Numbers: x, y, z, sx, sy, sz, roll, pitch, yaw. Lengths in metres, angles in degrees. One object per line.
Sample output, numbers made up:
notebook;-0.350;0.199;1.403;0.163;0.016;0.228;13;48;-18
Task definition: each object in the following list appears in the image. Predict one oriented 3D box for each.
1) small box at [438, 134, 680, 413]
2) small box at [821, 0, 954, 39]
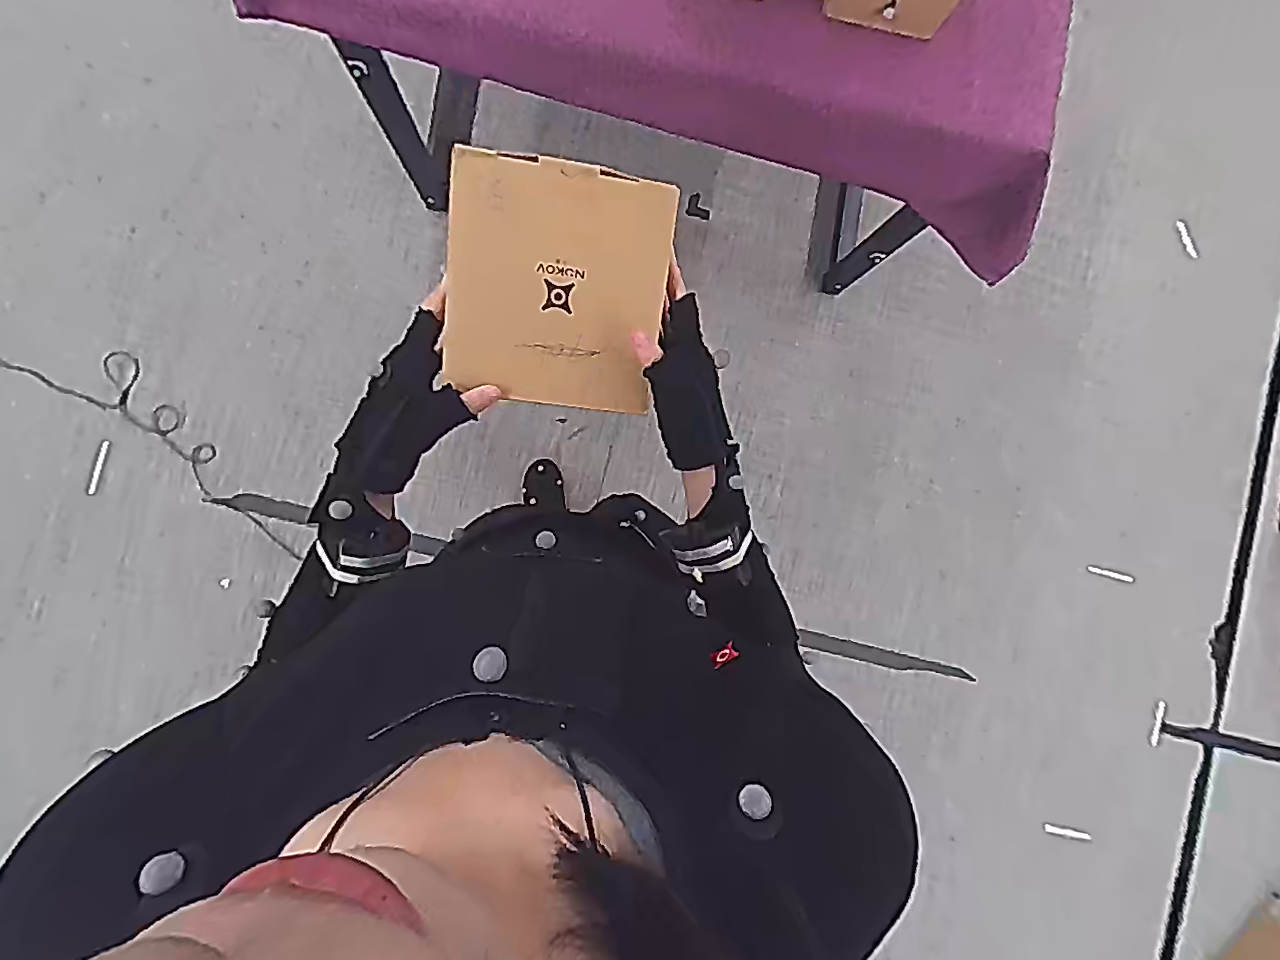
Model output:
small box;-0.073;-0.168;0.480;0.168;0.176;0.179;6;106;-9
small box;0.382;-0.776;0.761;0.179;0.176;0.168;8;88;-6
